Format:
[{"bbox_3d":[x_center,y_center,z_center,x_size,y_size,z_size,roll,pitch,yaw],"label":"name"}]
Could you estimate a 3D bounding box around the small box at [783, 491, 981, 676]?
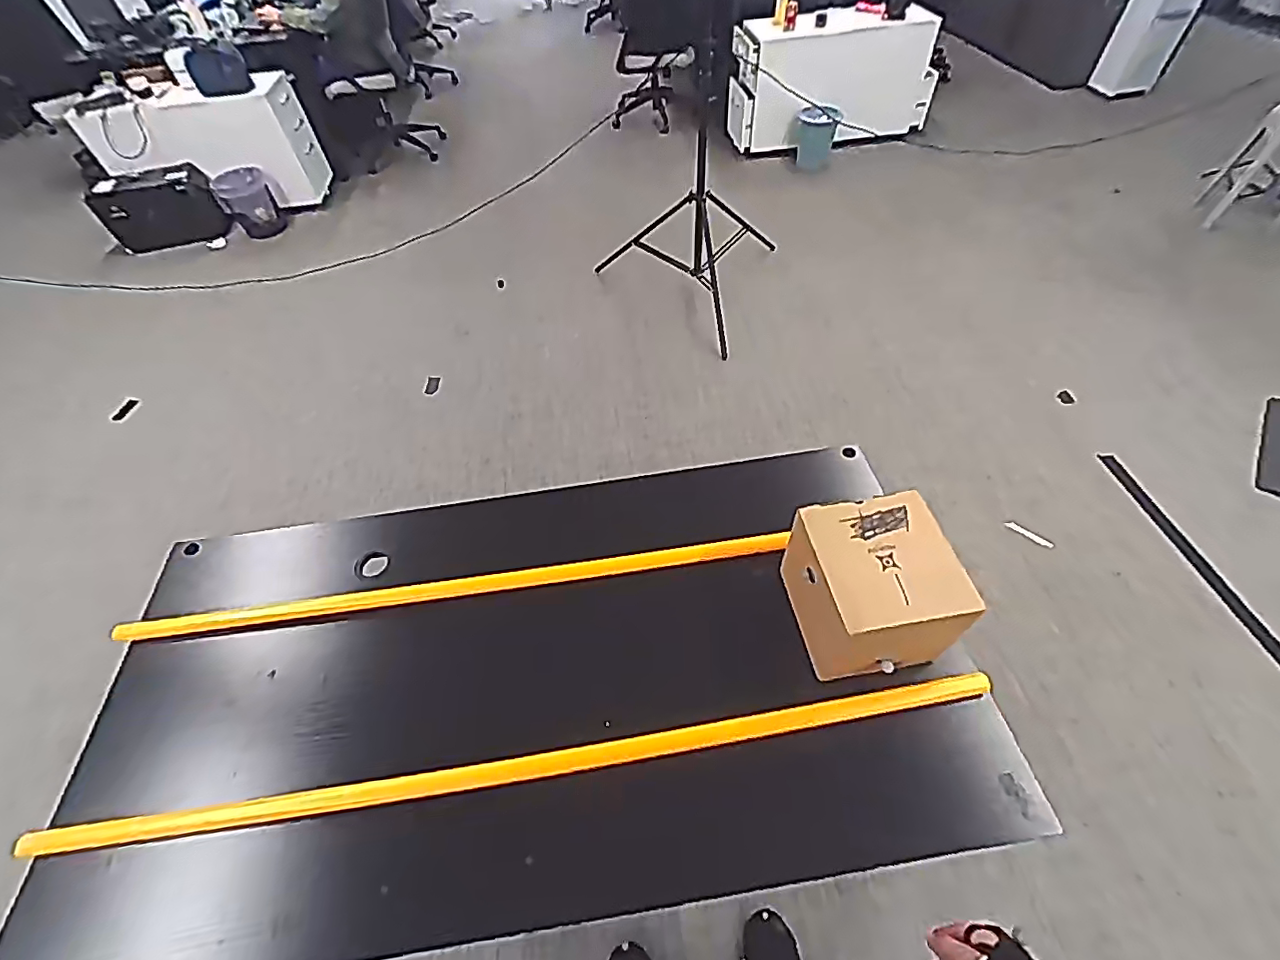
[{"bbox_3d":[0.305,0.142,0.729,0.168,0.176,0.179,-9,52,-2],"label":"small box"}]
